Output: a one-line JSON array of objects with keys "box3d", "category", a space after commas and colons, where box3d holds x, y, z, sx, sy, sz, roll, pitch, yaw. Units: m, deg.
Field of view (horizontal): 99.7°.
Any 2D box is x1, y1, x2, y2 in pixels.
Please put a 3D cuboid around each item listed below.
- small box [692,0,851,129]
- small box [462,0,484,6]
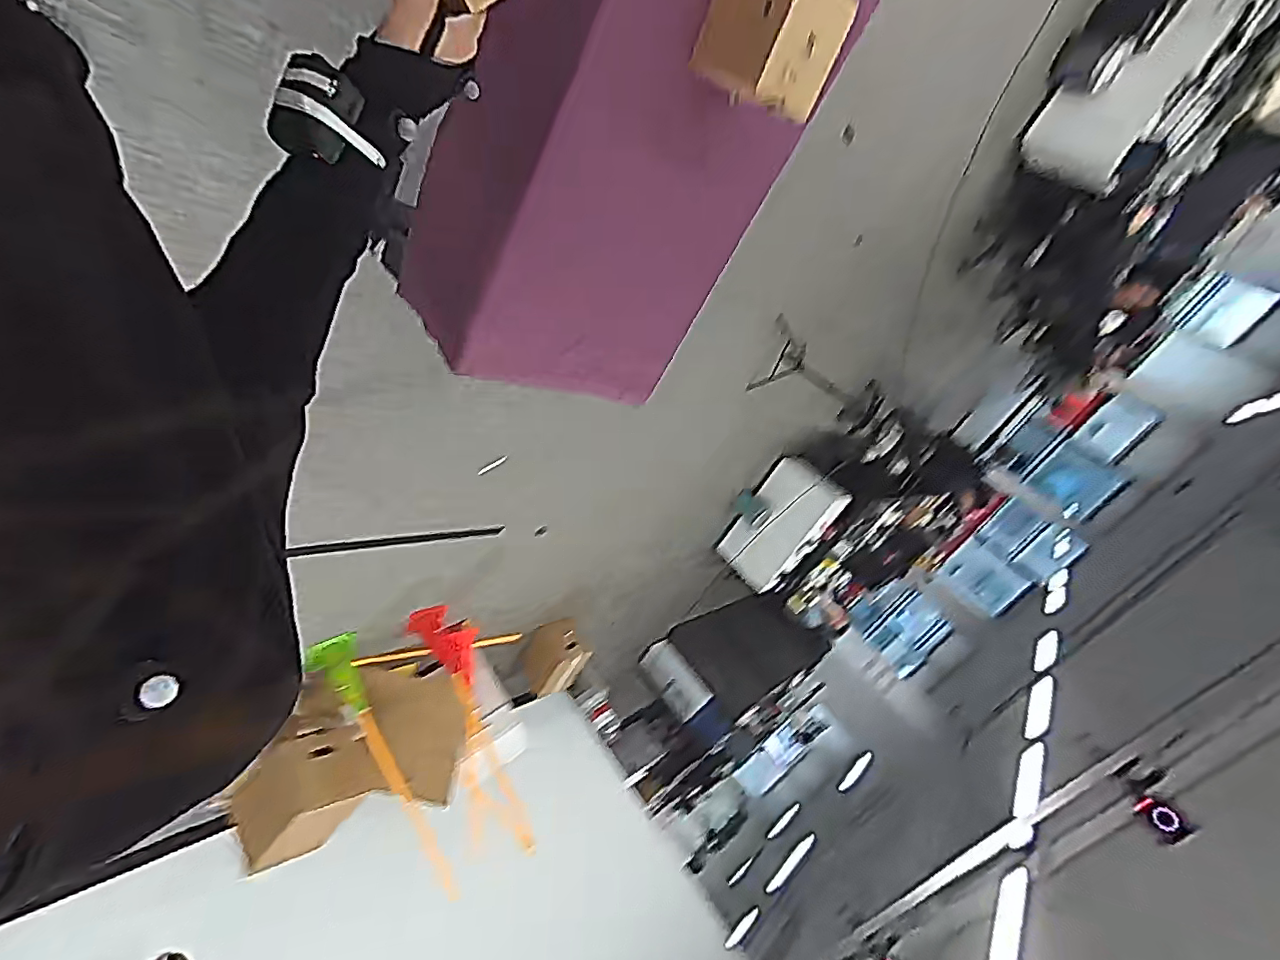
[{"box3d": [0.217, -0.747, 0.927, 0.168, 0.176, 0.179, -10, 137, -45], "category": "small box"}, {"box3d": [-0.152, -0.526, 0.430, 0.179, 0.176, 0.168, -45, 151, -11], "category": "small box"}]
